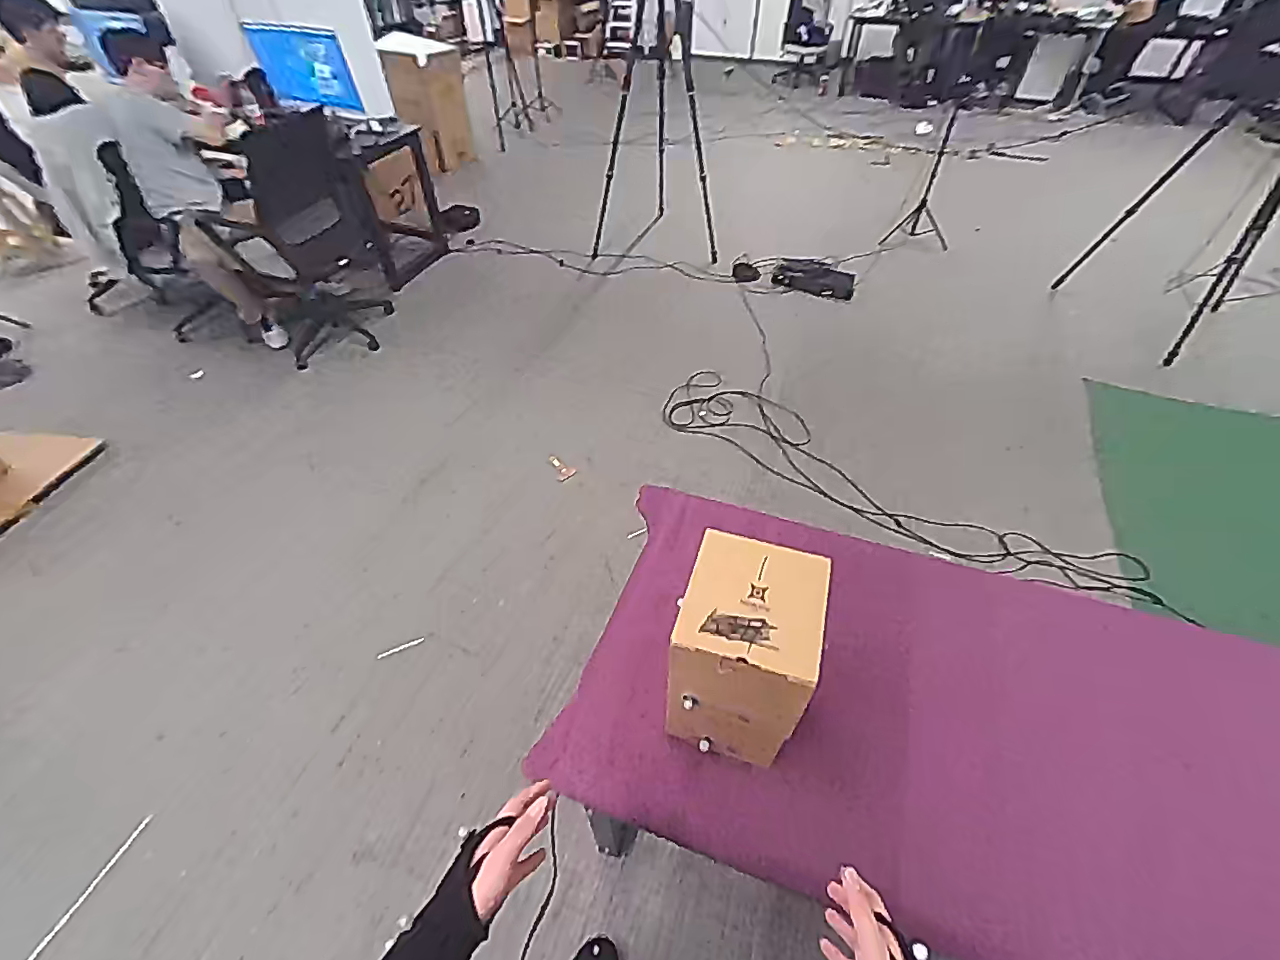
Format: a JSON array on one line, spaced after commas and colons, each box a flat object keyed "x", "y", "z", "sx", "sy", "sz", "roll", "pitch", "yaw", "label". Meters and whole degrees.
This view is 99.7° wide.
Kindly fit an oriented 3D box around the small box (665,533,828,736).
[{"x": 0.135, "y": 0.202, "z": 0.704, "sx": 0.168, "sy": 0.176, "sz": 0.179, "roll": 13, "pitch": 47, "yaw": 14, "label": "small box"}]

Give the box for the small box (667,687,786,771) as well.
[{"x": 0.140, "y": 0.309, "z": 0.828, "sx": 0.168, "sy": 0.176, "sz": 0.179, "roll": 13, "pitch": 49, "yaw": 13, "label": "small box"}]
